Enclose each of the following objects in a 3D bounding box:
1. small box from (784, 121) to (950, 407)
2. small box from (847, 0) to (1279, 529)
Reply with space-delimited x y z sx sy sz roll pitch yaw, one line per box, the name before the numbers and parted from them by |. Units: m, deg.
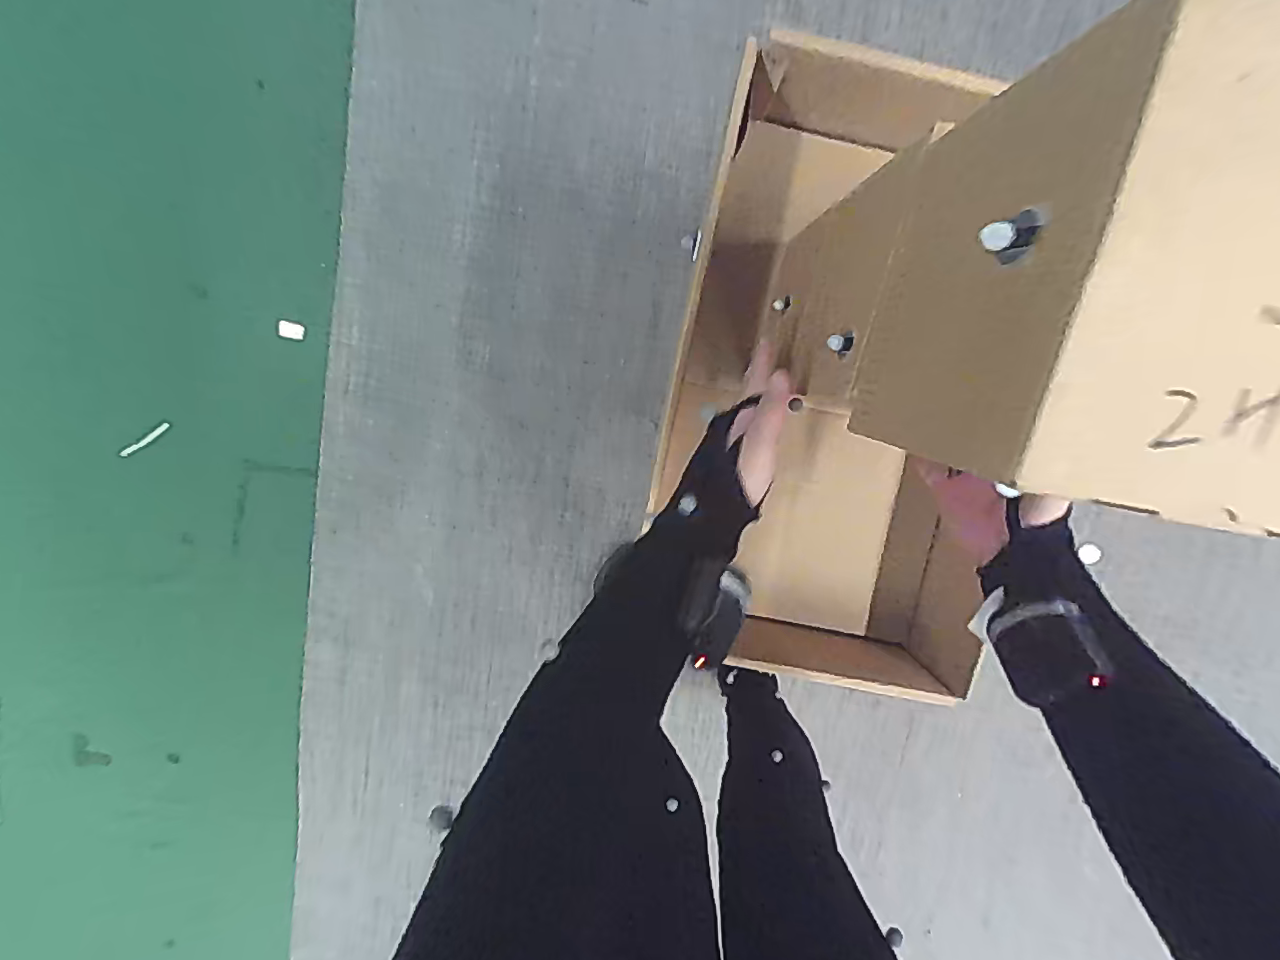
small box | 0.228 -0.136 0.426 0.168 0.176 0.179 11 102 -3
small box | 0.225 -0.088 0.268 0.168 0.176 0.179 10 103 -2
